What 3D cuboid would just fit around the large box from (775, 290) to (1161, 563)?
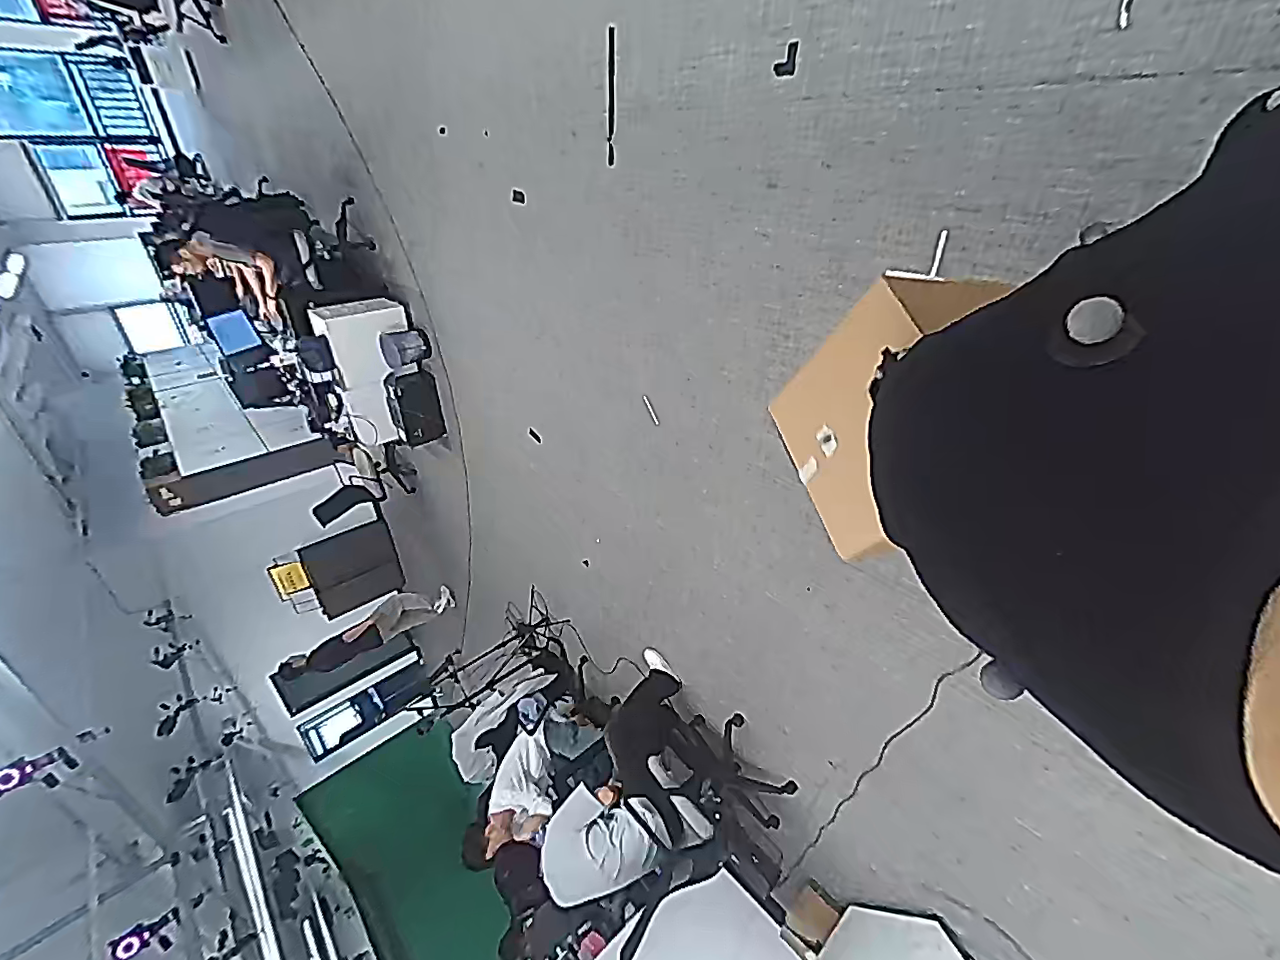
[{"bbox_3d":[0.514,-0.085,0.910,0.320,0.408,0.320,123,136,-53],"label":"large box"}]
